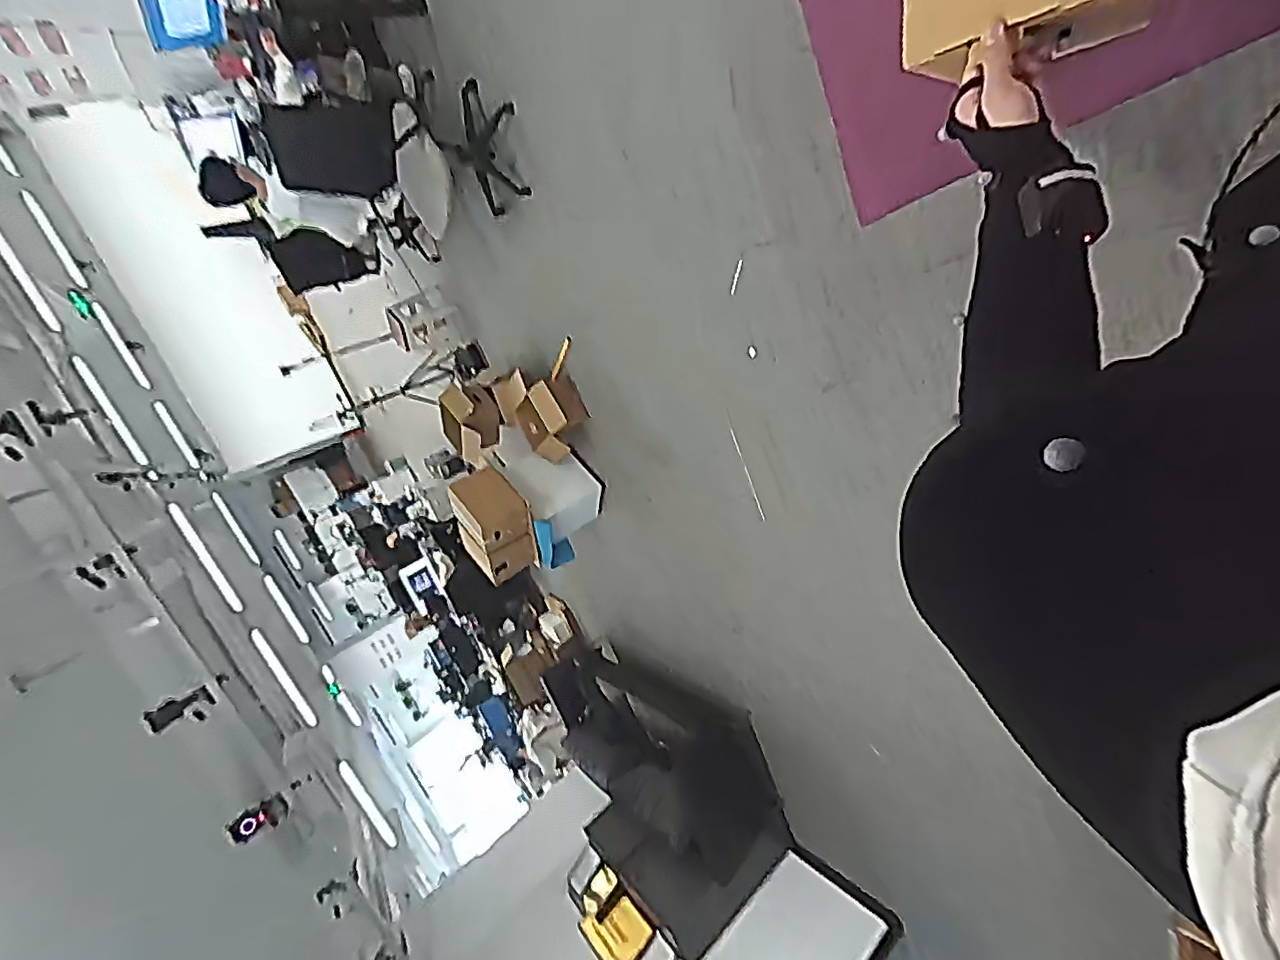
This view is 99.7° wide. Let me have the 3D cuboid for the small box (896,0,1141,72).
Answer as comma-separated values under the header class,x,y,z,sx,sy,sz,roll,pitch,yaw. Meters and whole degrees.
class,x,y,z,sx,sy,sz,roll,pitch,yaw
small box,0.367,-0.516,0.513,0.168,0.176,0.179,17,121,47
